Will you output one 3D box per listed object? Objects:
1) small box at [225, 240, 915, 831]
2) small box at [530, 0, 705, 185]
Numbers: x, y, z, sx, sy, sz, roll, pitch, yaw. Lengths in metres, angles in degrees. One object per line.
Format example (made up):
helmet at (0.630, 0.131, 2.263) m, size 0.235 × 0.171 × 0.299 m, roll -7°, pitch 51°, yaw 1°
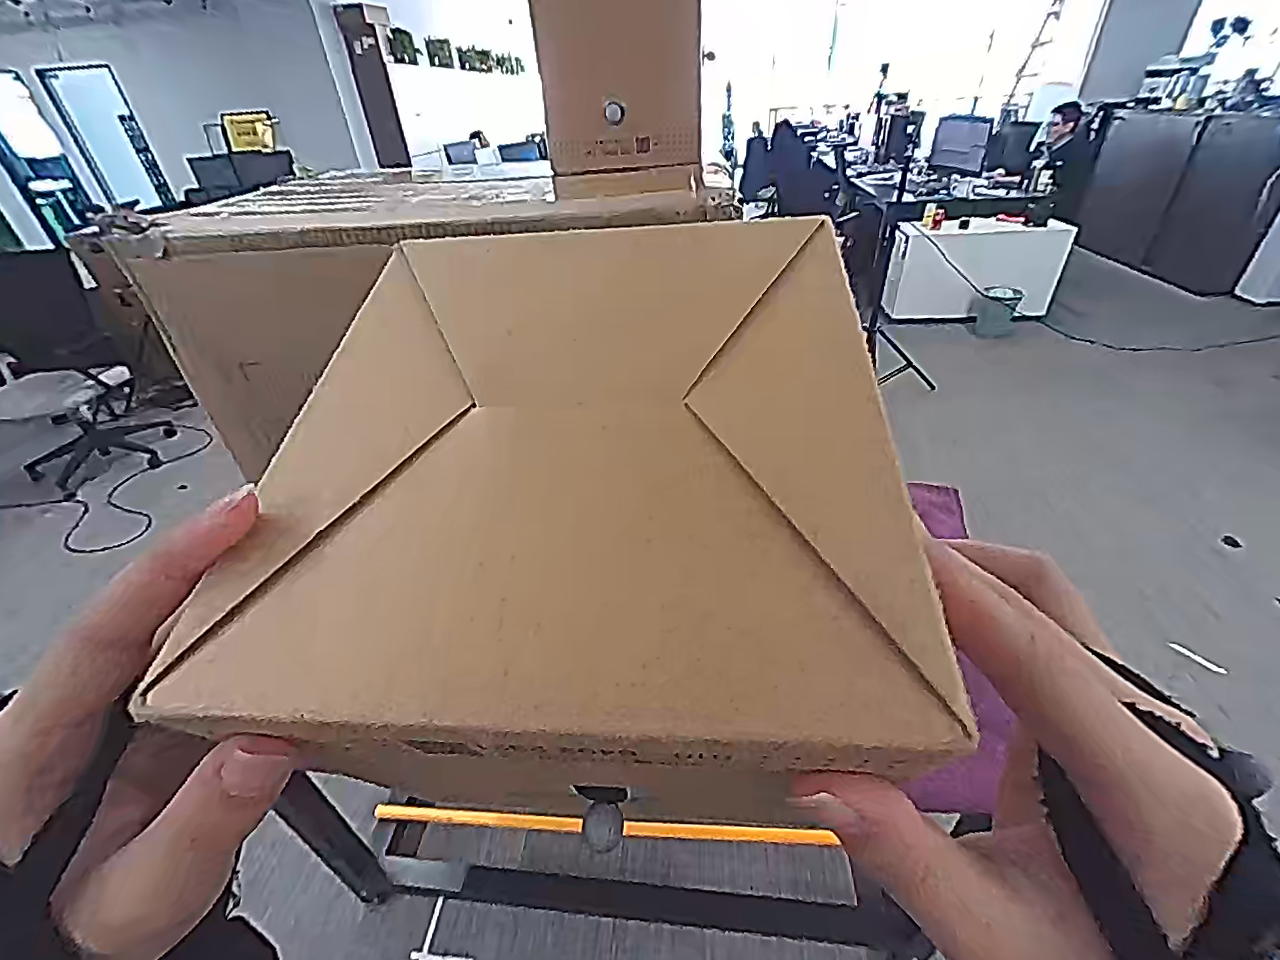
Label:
small box at (-0.009, 0.029, 0.222) m, size 0.168 × 0.176 × 0.179 m, roll 0°, pitch 54°, yaw 6°
small box at (-0.012, -0.437, 0.611) m, size 0.168 × 0.176 × 0.179 m, roll 0°, pitch 35°, yaw 7°
